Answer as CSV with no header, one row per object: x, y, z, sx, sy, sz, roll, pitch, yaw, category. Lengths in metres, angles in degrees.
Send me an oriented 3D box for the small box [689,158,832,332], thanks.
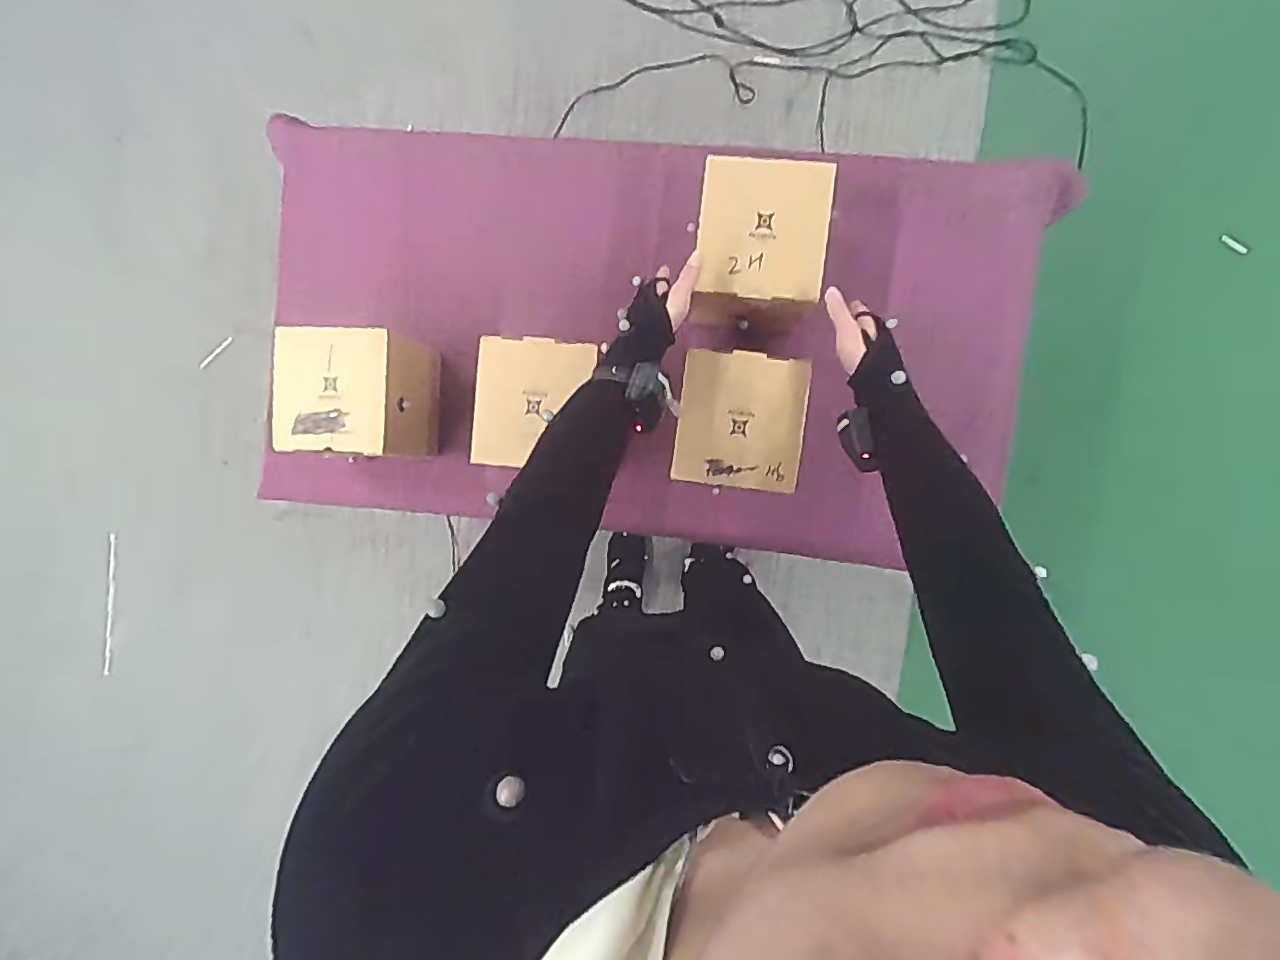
0.162,-0.325,0.776,0.168,0.176,0.179,7,94,6,small box

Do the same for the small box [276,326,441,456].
-0.425,-0.129,0.839,0.168,0.176,0.179,3,90,5,small box

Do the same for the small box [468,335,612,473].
-0.140,-0.107,0.816,0.168,0.176,0.179,6,94,6,small box
